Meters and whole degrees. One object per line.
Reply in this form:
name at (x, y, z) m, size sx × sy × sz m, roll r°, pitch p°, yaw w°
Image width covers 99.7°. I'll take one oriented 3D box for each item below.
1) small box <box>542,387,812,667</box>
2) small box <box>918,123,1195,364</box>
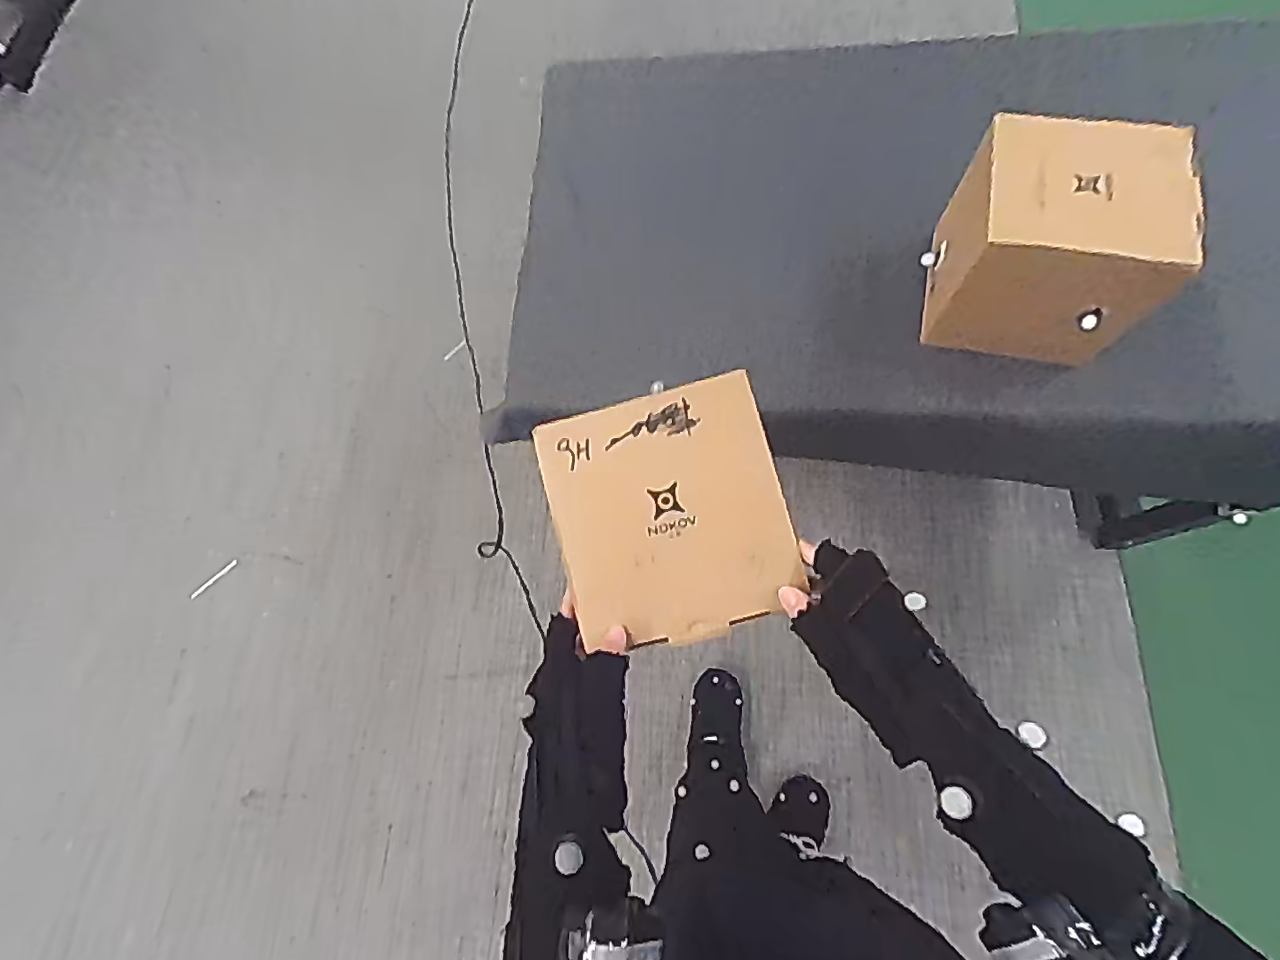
small box at (0.031, 0.040, 0.473) m, size 0.168 × 0.176 × 0.179 m, roll -15°, pitch 83°, yaw 2°
small box at (0.430, -0.245, 0.587) m, size 0.179 × 0.176 × 0.168 m, roll 11°, pitch 71°, yaw 11°
